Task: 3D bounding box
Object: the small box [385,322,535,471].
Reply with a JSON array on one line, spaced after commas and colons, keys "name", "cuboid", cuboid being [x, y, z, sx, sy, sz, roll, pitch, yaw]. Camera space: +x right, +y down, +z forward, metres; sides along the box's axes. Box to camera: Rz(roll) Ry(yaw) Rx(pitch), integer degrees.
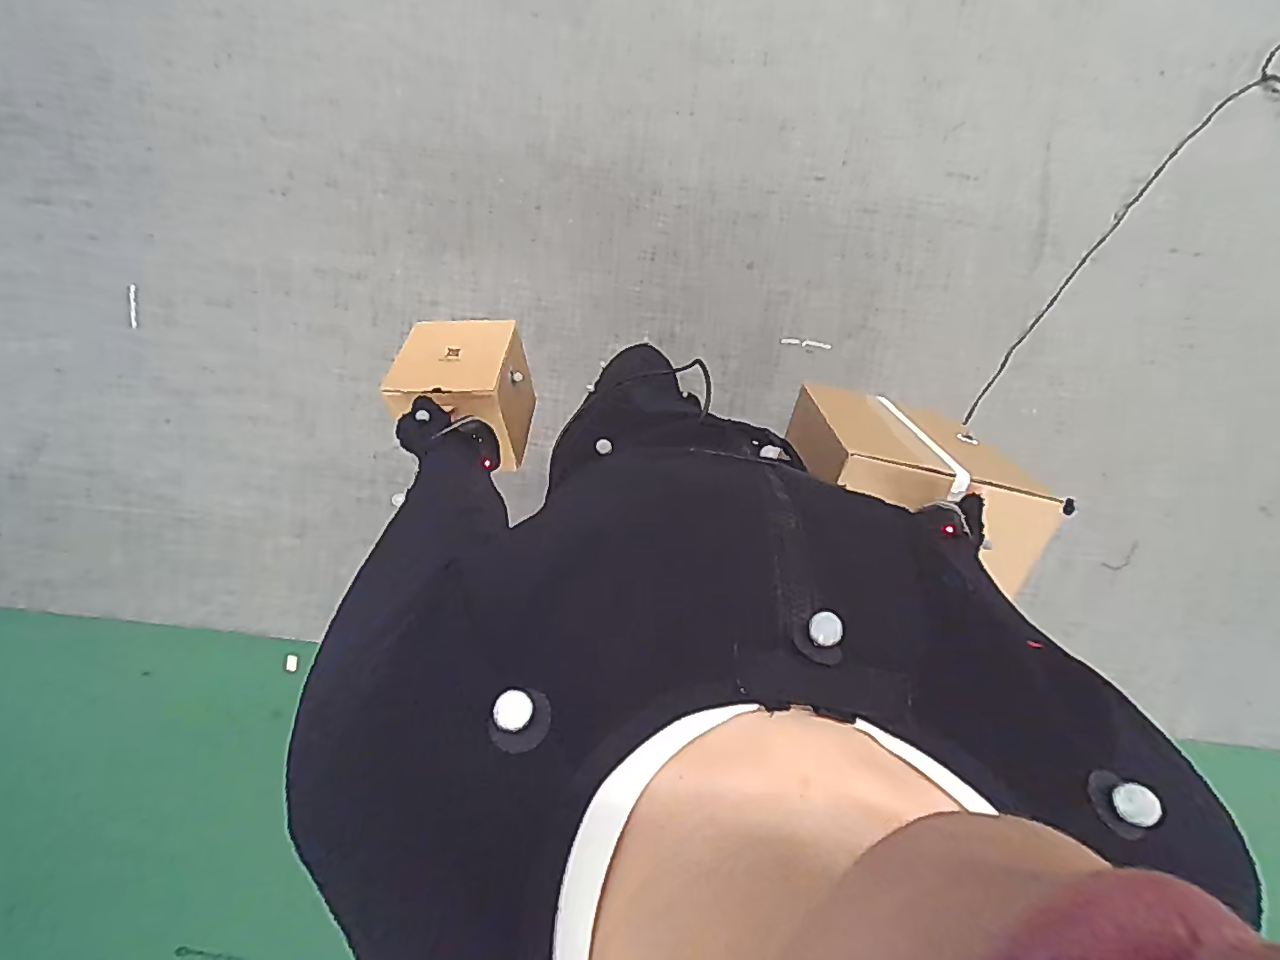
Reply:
[{"name": "small box", "cuboid": [-0.274, -0.135, 0.872, 0.168, 0.179, 0.176, 0, 141, 4]}]
